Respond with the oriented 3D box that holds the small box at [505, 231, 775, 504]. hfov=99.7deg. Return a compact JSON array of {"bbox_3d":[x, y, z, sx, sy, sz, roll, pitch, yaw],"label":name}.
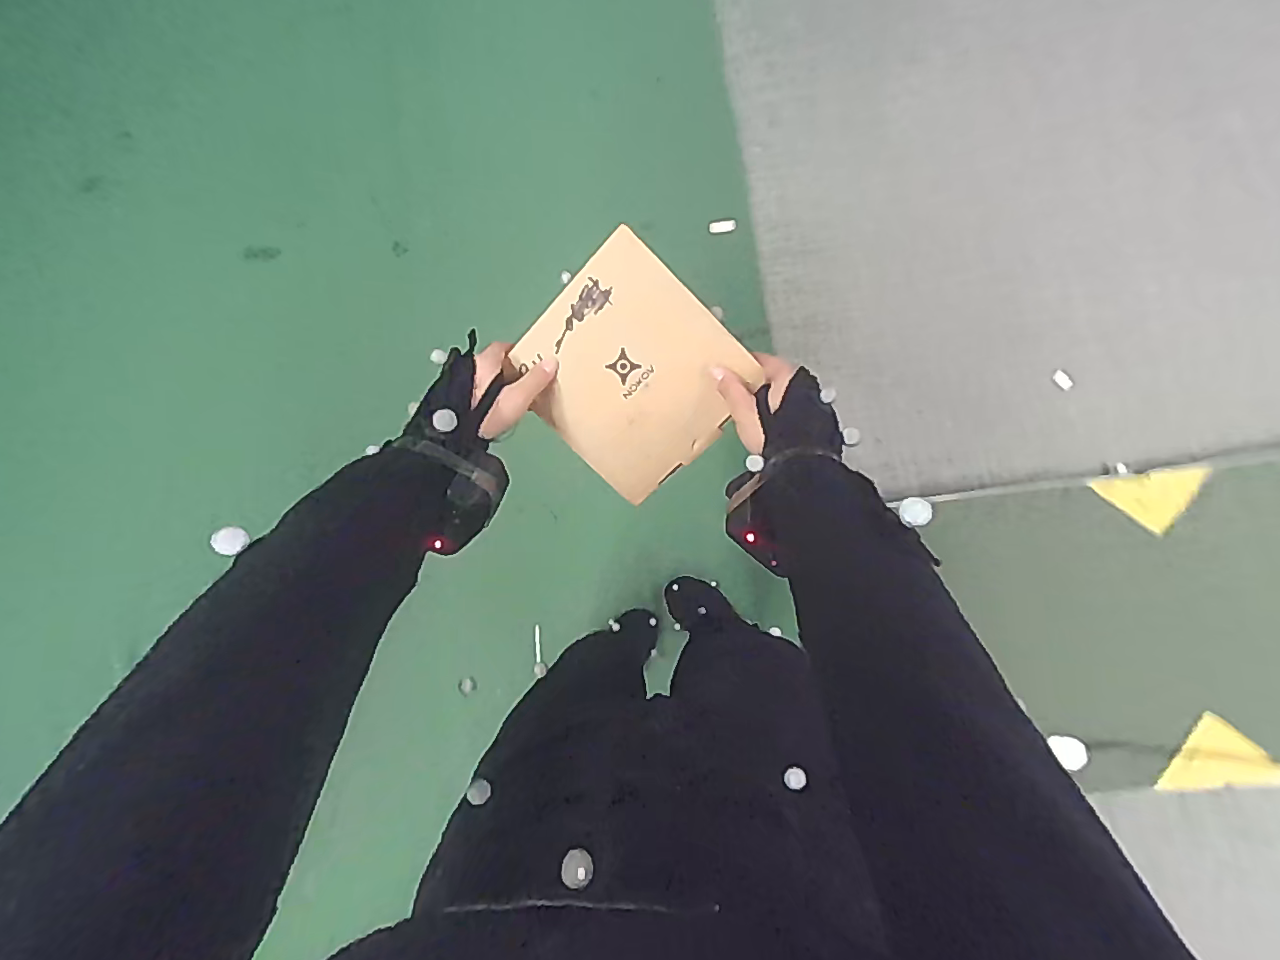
[{"bbox_3d":[0.006,-0.110,0.538,0.168,0.176,0.179,-43,97,13],"label":"small box"}]
